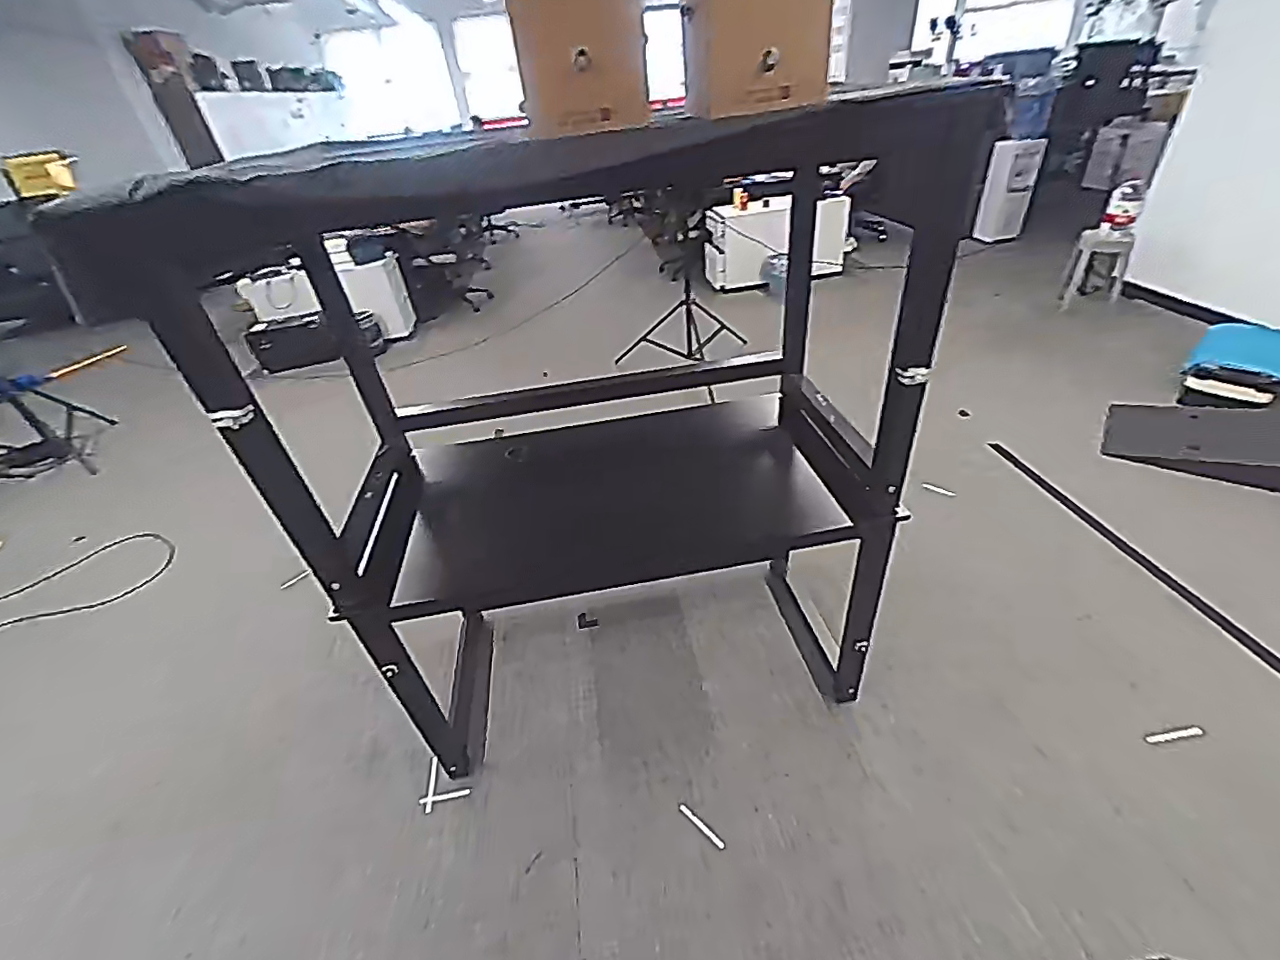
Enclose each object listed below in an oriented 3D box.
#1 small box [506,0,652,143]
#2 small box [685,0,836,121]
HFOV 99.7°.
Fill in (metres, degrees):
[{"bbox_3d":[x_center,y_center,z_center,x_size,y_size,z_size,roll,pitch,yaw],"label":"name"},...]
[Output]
[{"bbox_3d":[-0.077,-0.572,0.744,0.168,0.176,0.179,-7,36,-1],"label":"small box"},{"bbox_3d":[0.157,-0.608,0.751,0.168,0.176,0.179,-10,36,-2],"label":"small box"}]
